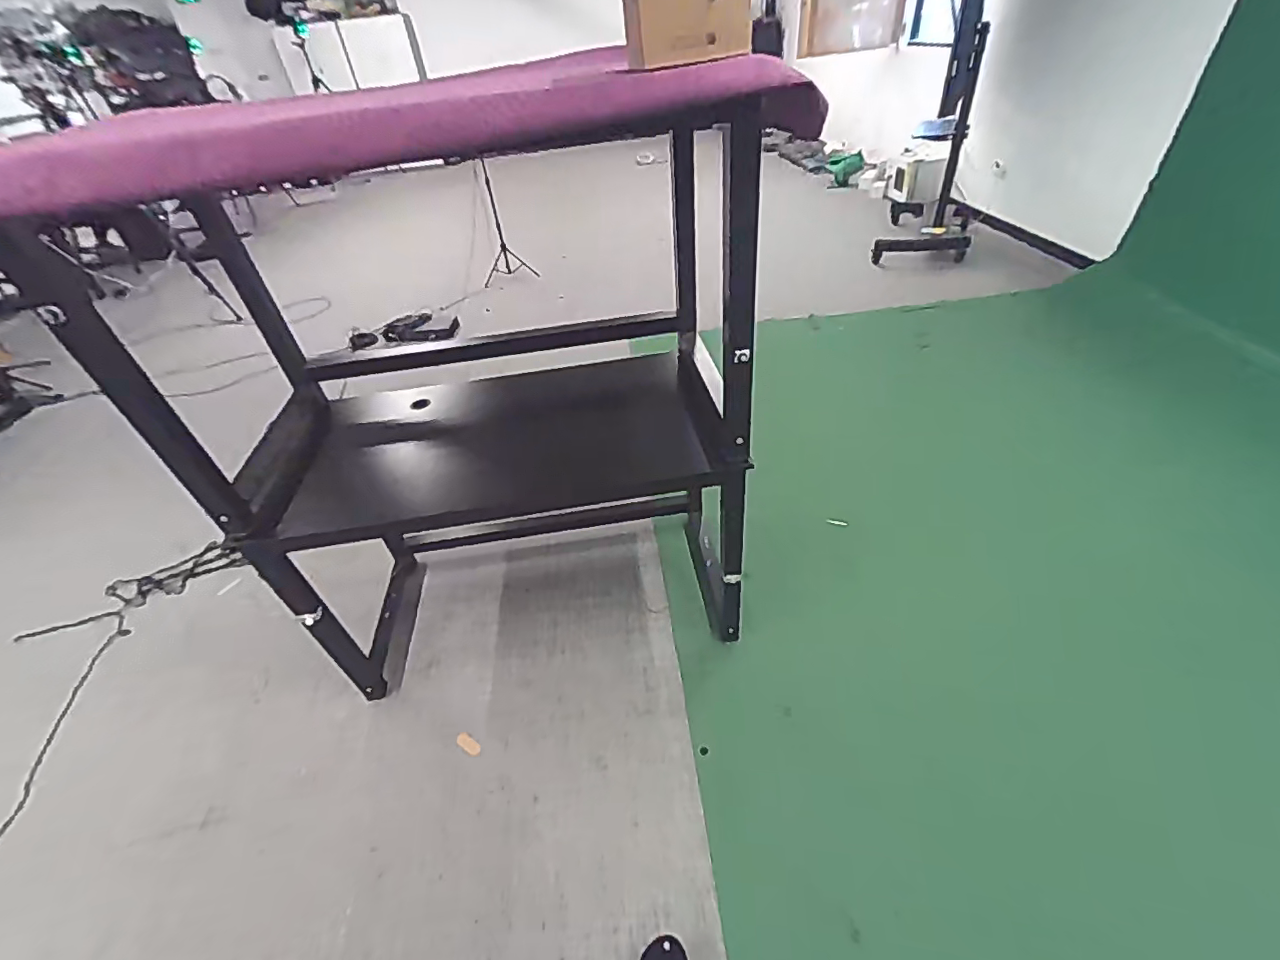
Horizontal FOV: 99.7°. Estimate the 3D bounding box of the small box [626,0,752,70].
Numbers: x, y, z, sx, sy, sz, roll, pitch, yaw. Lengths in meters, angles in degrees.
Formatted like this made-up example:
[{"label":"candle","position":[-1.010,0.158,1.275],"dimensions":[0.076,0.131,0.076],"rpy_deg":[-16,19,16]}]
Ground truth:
[{"label":"small box","position":[0.069,-0.736,0.815],"dimensions":[0.168,0.176,0.179],"rpy_deg":[-9,38,-3]}]
